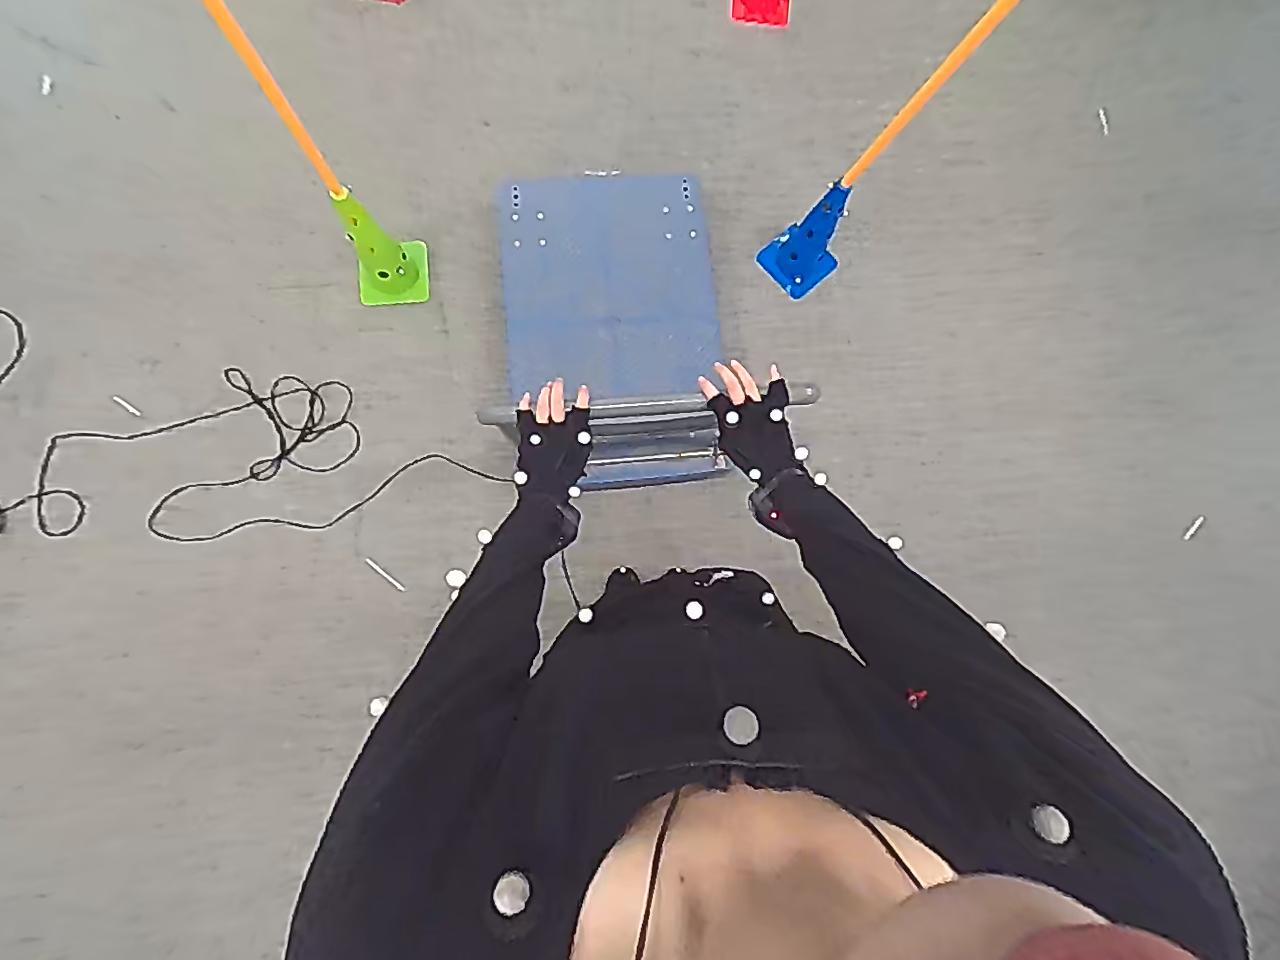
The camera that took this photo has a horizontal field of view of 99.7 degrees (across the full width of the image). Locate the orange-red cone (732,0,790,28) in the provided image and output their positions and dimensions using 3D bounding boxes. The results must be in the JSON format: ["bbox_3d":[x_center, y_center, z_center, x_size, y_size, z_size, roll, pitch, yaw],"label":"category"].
[{"bbox_3d":[0.429,-1.686,1.708,0.198,0.360,0.199,6,81,-2],"label":"orange-red cone"}]
